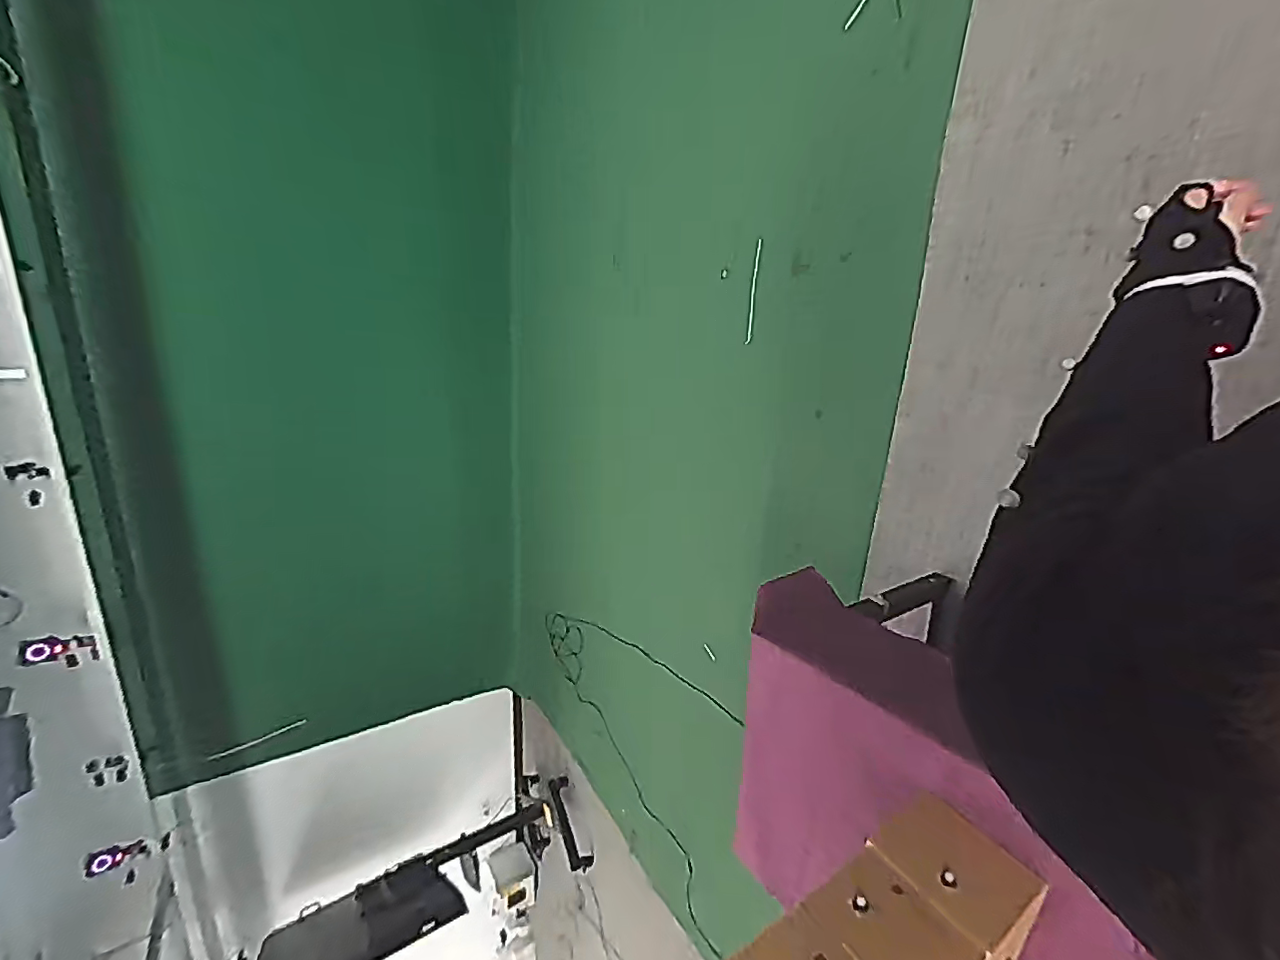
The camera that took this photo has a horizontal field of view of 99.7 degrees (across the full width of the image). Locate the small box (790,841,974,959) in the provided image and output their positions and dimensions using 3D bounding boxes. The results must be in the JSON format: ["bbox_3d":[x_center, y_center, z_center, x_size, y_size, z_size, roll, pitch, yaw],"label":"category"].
[{"bbox_3d":[0.306,0.634,0.716,0.168,0.176,0.179,31,122,52],"label":"small box"}]

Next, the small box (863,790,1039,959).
[{"bbox_3d":[0.443,0.608,0.800,0.179,0.176,0.168,31,121,52],"label":"small box"}]

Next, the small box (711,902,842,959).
[{"bbox_3d":[0.169,0.653,0.627,0.168,0.176,0.179,30,120,53],"label":"small box"}]
